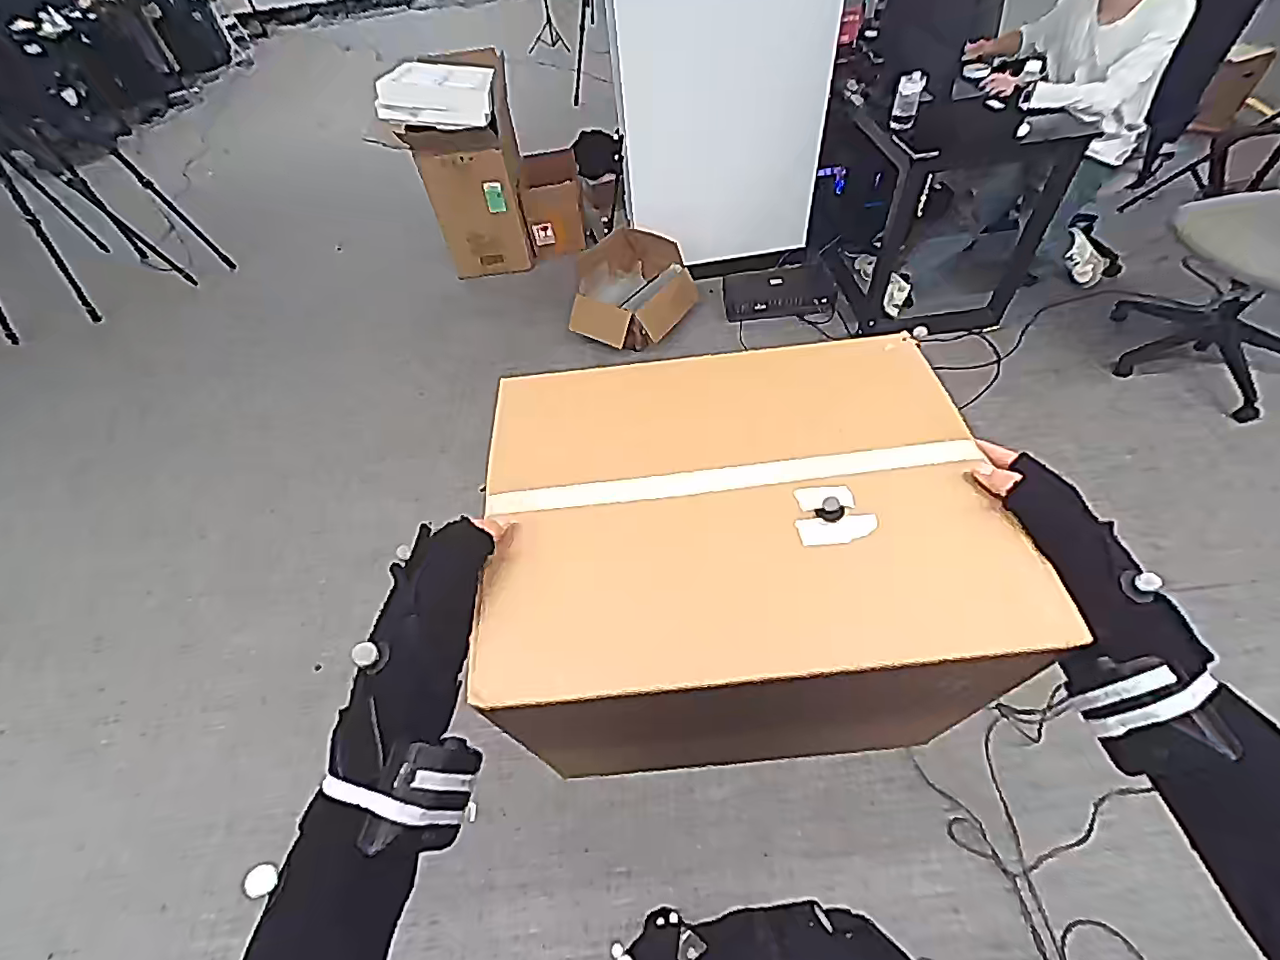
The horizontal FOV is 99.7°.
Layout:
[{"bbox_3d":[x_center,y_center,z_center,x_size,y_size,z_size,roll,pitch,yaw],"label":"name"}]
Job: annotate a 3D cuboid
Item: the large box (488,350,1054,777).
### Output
[{"bbox_3d":[0.086,0.100,0.577,0.408,0.320,0.320,-6,53,1],"label":"large box"}]
